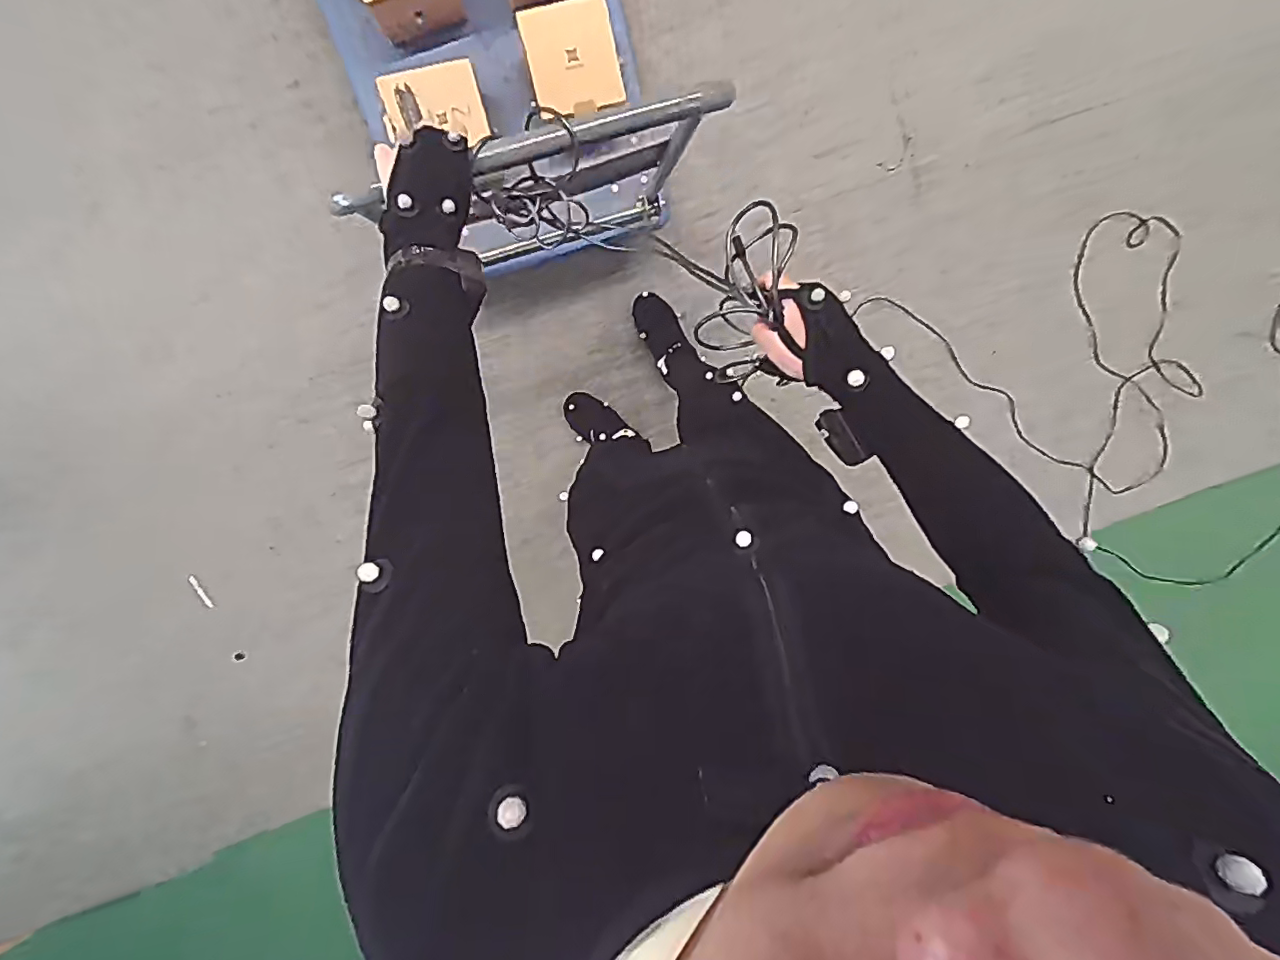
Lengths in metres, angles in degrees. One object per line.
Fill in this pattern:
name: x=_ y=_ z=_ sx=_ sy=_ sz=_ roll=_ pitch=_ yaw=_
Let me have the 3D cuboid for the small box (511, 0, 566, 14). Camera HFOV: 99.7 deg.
small box: x=-0.192 y=-1.022 z=0.995 sx=0.168 sy=0.176 sz=0.179 roll=-18 pitch=110 yaw=0

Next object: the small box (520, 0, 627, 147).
small box: x=-0.132 y=-0.799 z=1.077 sx=0.168 sy=0.176 sz=0.179 roll=-16 pitch=109 yaw=-2

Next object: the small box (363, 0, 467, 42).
small box: x=-0.436 y=-0.946 z=0.989 sx=0.168 sy=0.176 sz=0.179 roll=-21 pitch=109 yaw=-1
